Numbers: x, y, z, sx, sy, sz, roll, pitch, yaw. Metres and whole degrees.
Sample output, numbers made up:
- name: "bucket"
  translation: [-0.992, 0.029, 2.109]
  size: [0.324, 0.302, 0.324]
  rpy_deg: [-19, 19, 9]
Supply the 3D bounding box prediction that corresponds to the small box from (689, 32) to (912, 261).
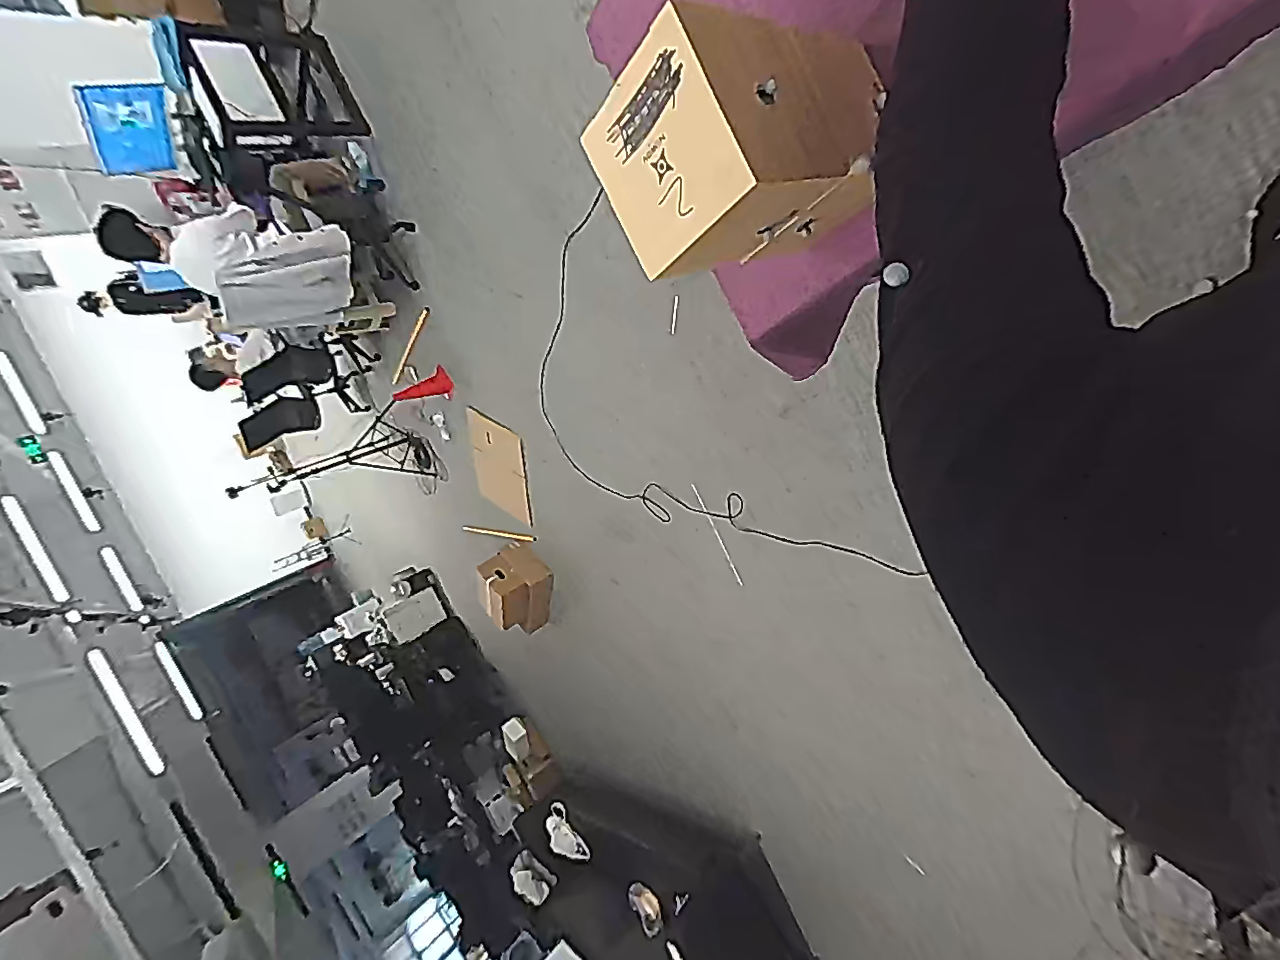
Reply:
- name: "small box"
  translation: [0.201, -0.404, 0.682]
  size: [0.179, 0.176, 0.168]
  rpy_deg: [-24, 93, 52]
